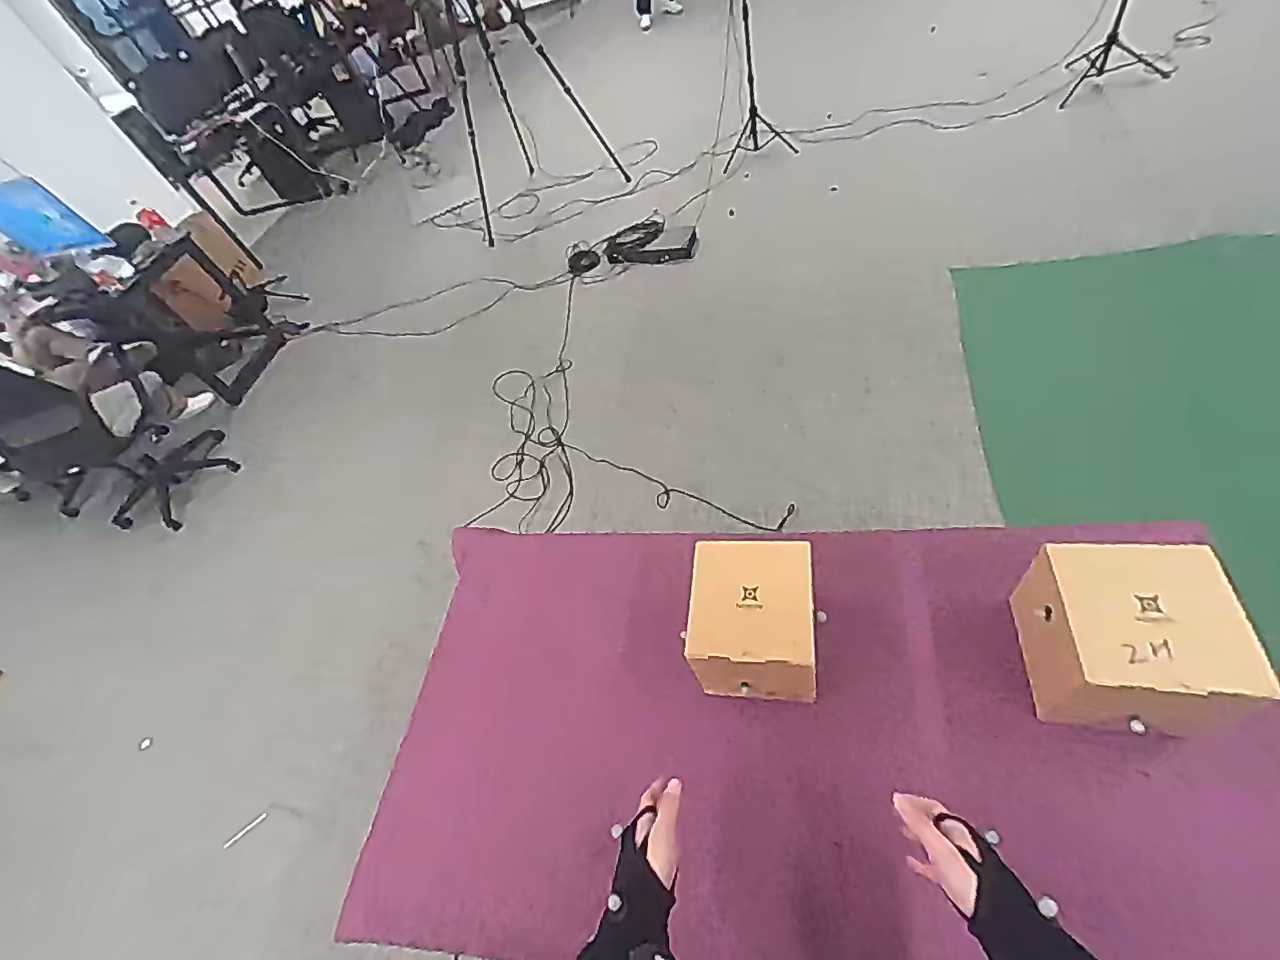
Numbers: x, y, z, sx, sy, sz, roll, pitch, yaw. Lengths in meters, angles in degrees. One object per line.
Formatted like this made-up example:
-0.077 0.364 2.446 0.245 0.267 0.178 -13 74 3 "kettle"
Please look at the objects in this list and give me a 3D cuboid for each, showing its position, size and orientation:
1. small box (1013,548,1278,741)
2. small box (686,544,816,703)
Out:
0.590 0.202 0.668 0.168 0.176 0.179 -1 54 18 "small box"
0.169 0.211 0.797 0.168 0.176 0.179 -1 55 16 "small box"
